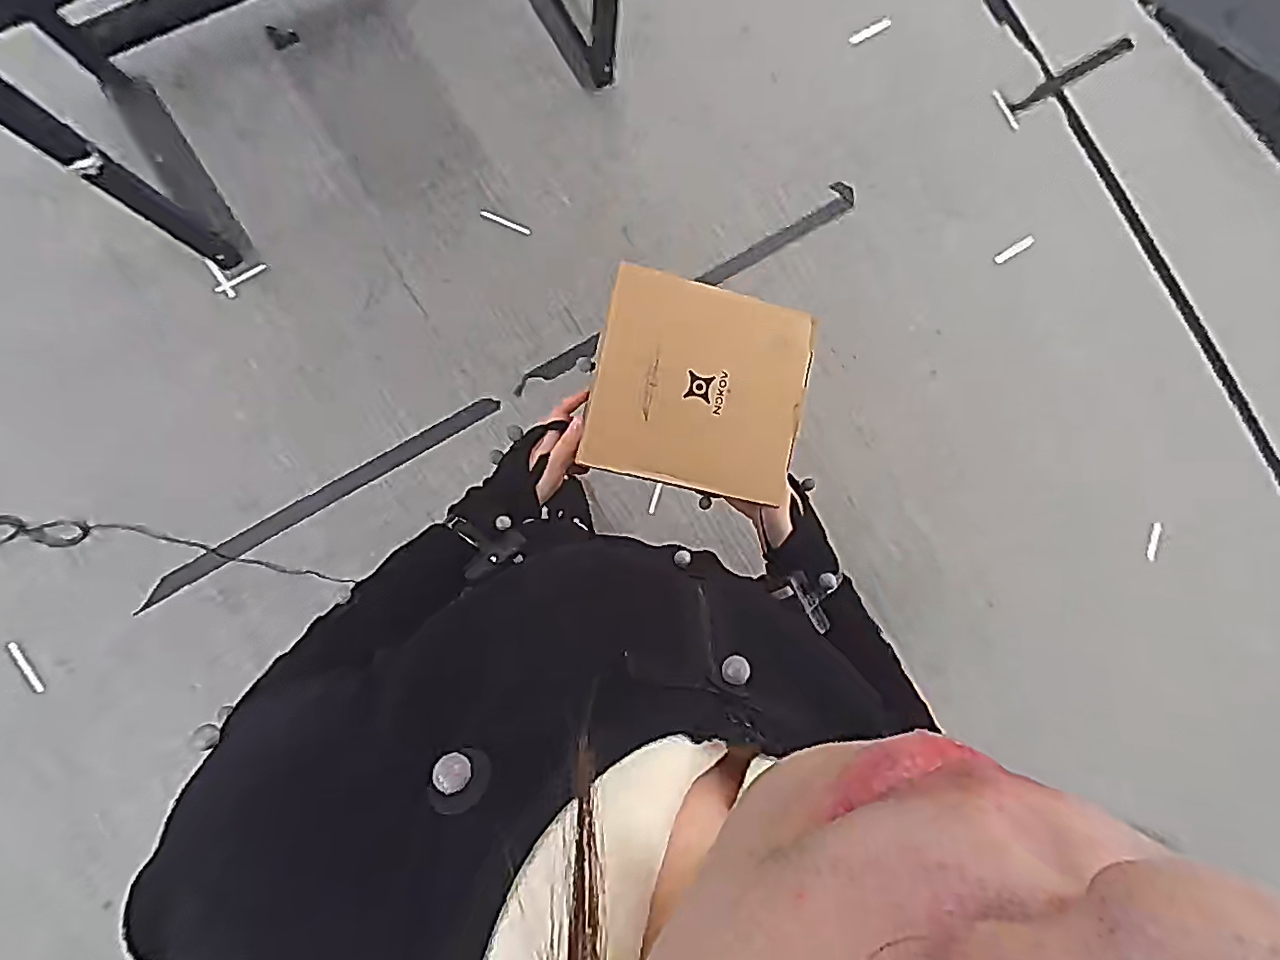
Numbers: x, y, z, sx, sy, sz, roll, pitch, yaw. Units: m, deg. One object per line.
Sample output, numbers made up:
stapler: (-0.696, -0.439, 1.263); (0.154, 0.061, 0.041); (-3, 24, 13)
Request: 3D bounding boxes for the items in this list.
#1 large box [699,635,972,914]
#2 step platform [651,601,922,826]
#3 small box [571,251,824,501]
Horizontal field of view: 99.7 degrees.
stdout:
large box: (0.398, 0.603, 1.189); (0.408, 0.320, 0.320); (-28, 91, -8)
step platform: (0.382, 0.594, 1.429); (0.684, 0.204, 0.286); (-26, 90, -8)
small box: (0.038, -0.082, 0.506); (0.179, 0.176, 0.168); (12, 89, -9)
